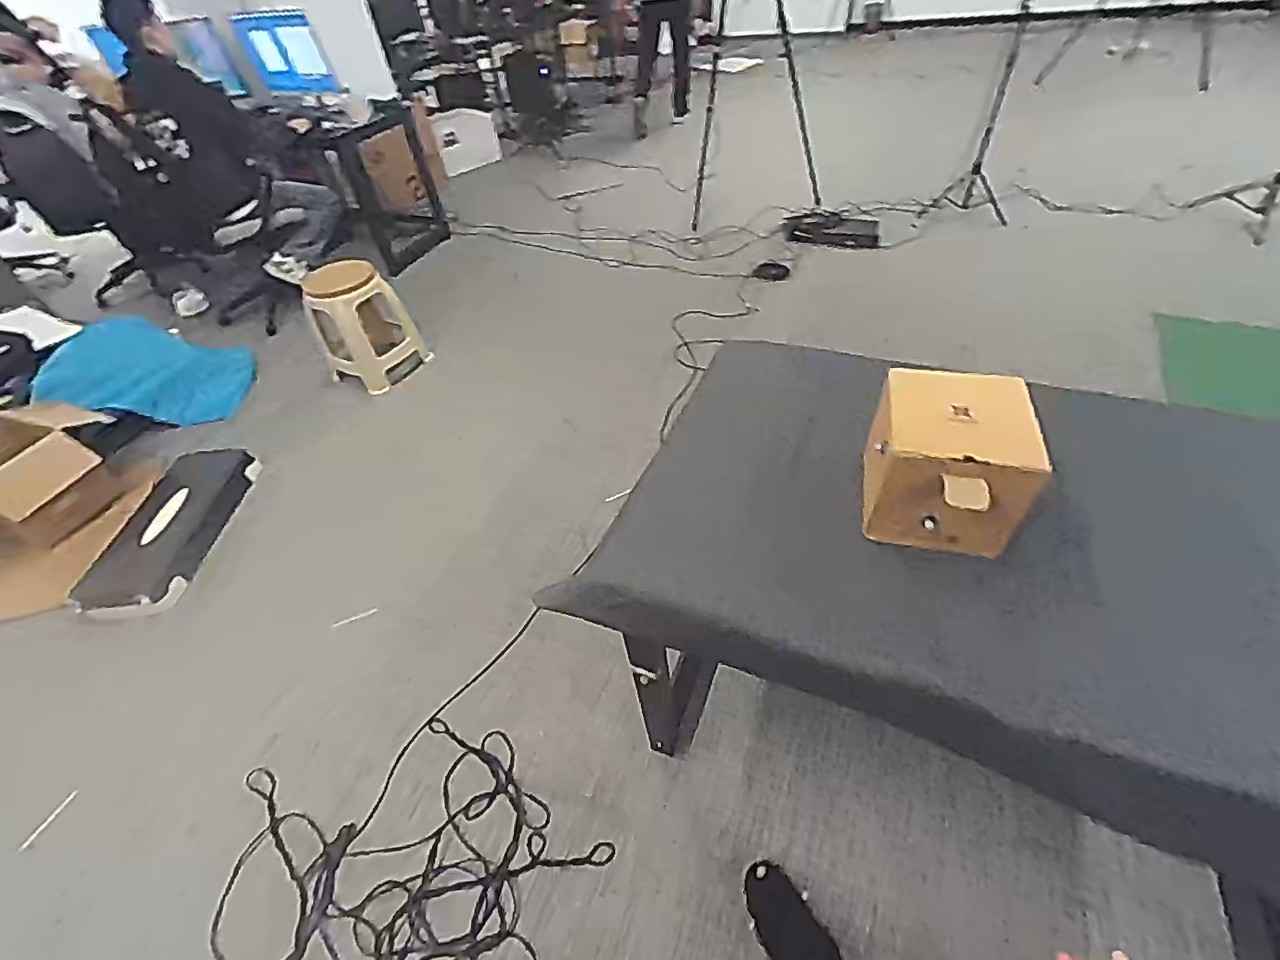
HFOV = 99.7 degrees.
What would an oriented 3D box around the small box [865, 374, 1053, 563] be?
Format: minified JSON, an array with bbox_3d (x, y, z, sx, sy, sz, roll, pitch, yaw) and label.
[{"bbox_3d":[0.406,-0.017,0.726,0.168,0.176,0.179,8,48,14],"label":"small box"}]
